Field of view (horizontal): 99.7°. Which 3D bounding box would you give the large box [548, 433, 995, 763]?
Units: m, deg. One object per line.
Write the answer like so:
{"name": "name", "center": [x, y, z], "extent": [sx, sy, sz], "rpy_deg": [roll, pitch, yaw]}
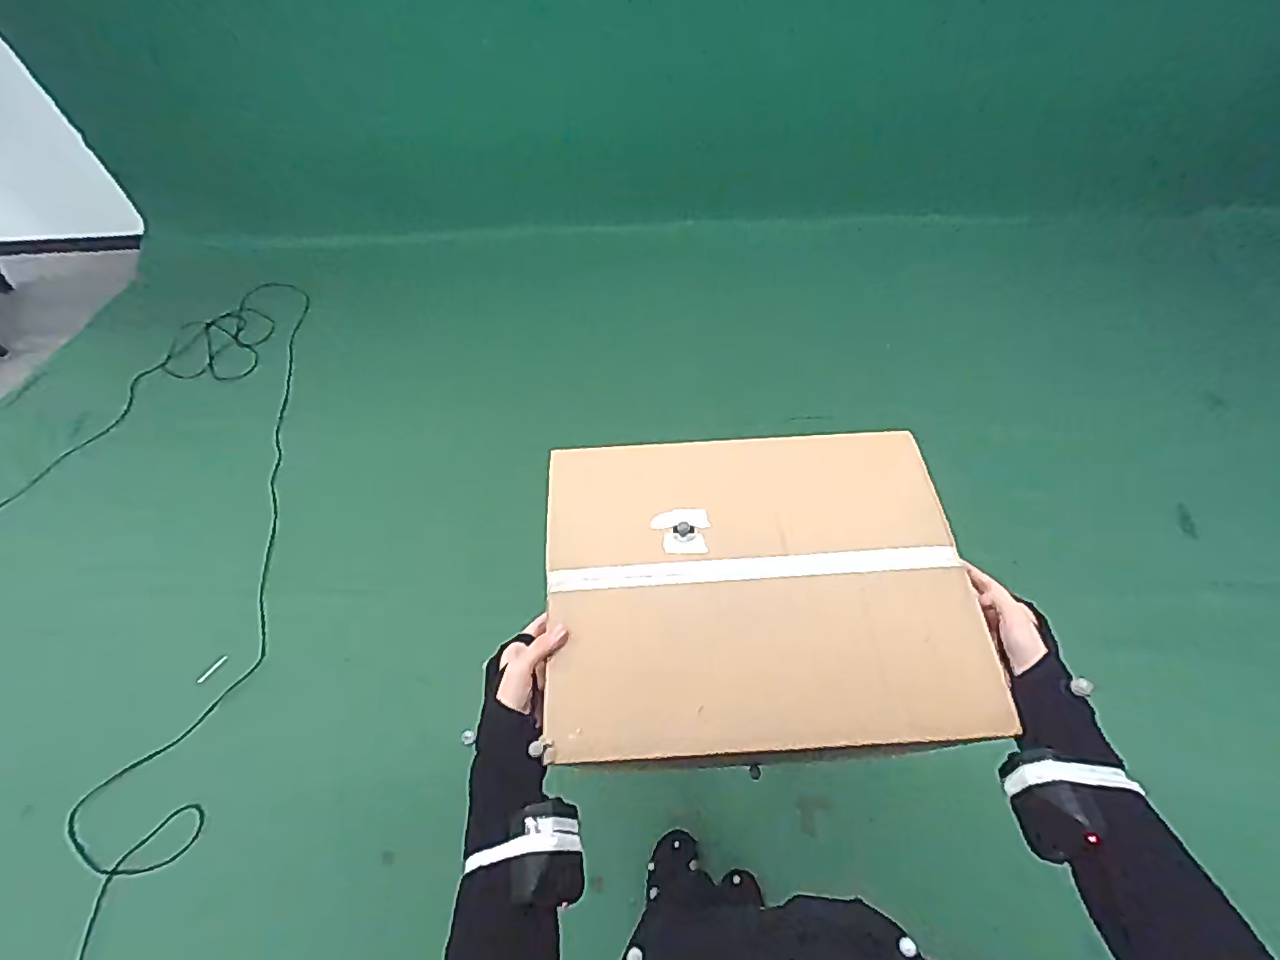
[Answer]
{"name": "large box", "center": [0.114, 0.165, 0.675], "extent": [0.408, 0.320, 0.320], "rpy_deg": [-4, 60, 0]}
